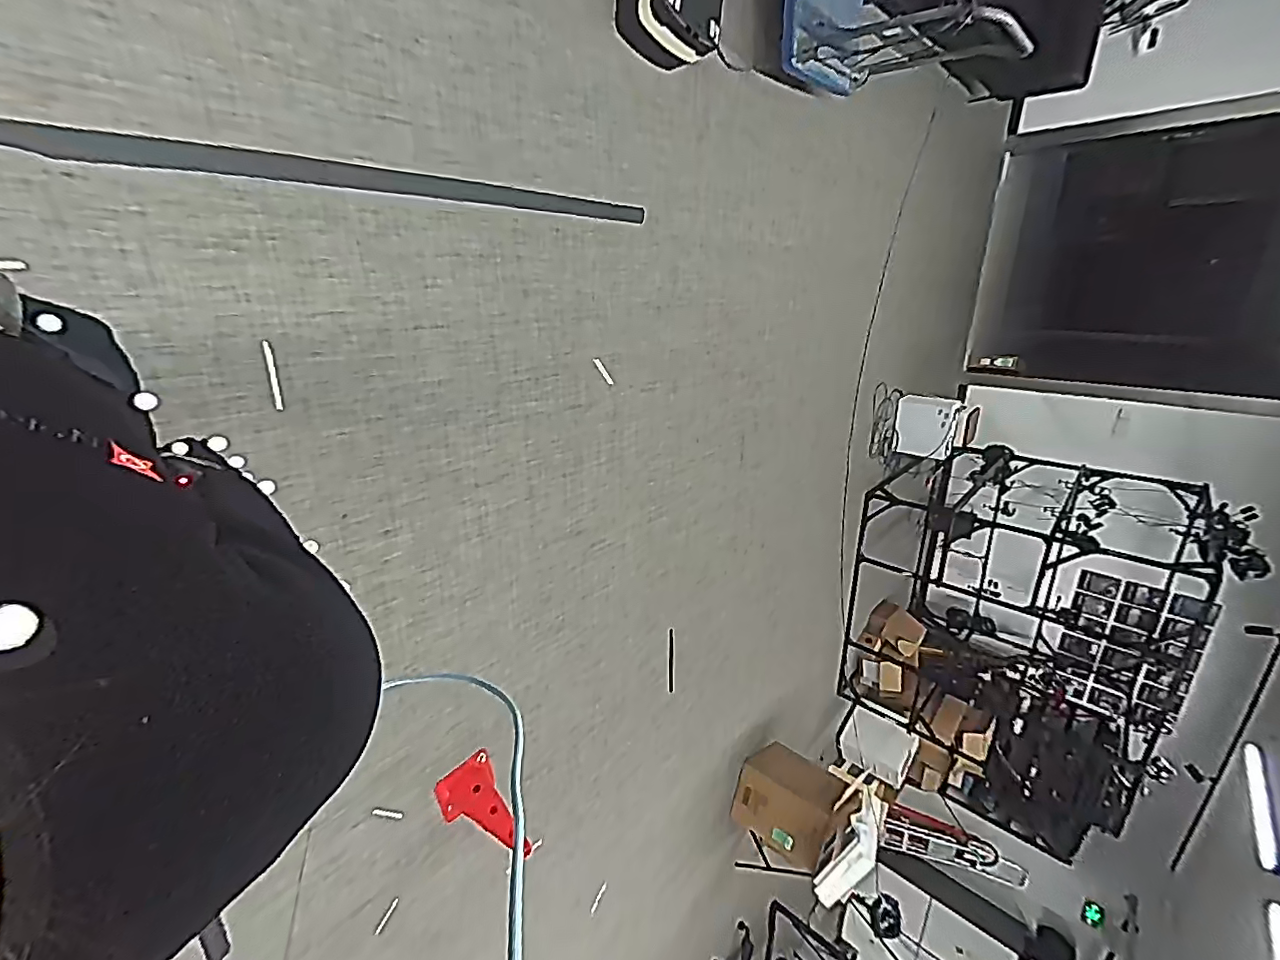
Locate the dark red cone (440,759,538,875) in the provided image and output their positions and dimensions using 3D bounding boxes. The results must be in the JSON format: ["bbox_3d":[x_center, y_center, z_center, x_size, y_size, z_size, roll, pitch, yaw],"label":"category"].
[{"bbox_3d":[-0.459,1.112,1.738,0.201,0.394,0.202,-28,123,-39],"label":"dark red cone"}]
